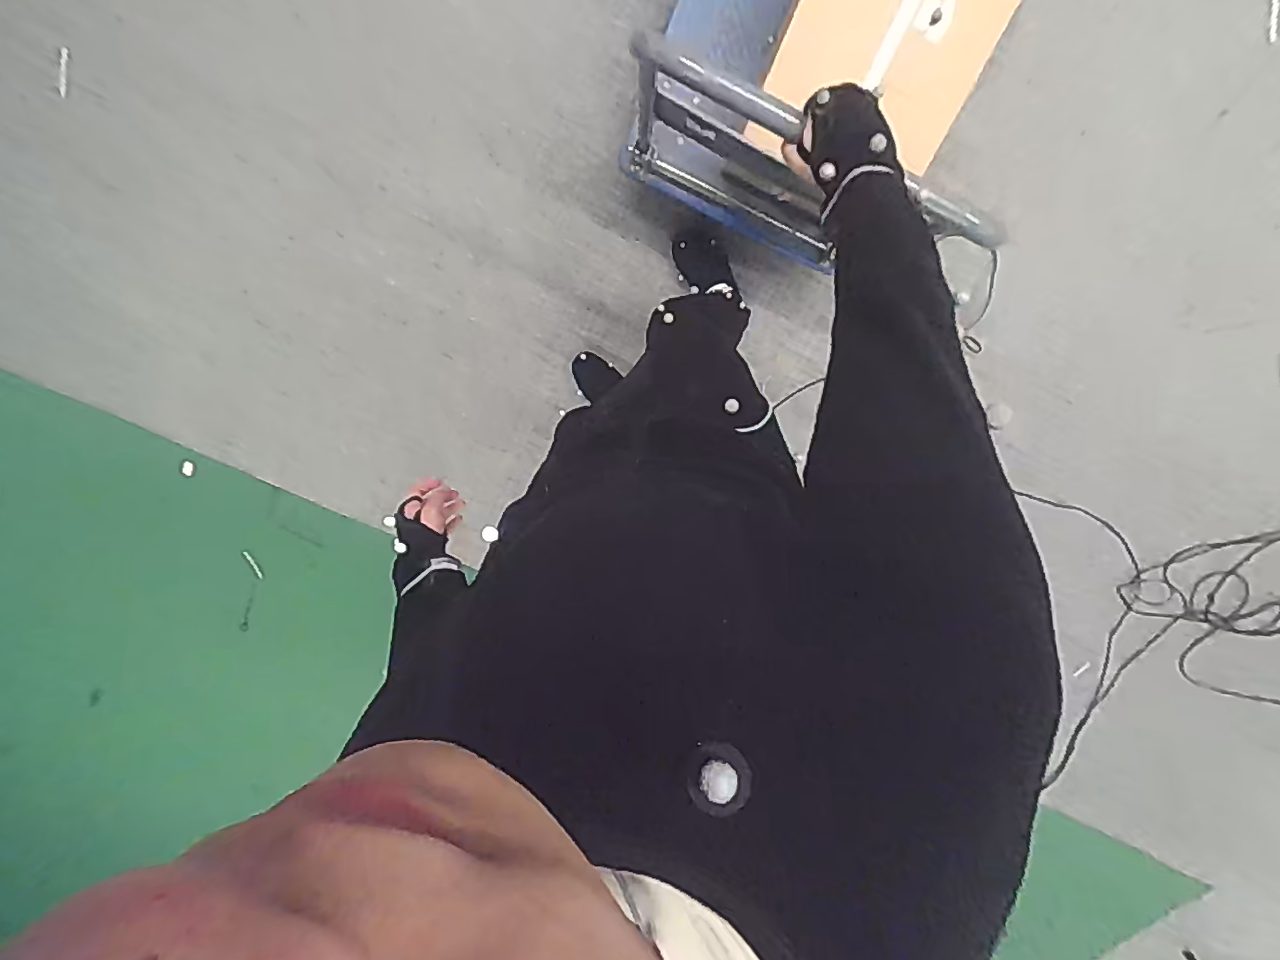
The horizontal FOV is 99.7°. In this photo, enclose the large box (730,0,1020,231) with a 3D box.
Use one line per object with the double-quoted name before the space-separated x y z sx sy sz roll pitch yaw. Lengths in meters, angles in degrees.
"large box" 0.400 -0.731 1.009 0.320 0.320 0.408 22 112 -7
